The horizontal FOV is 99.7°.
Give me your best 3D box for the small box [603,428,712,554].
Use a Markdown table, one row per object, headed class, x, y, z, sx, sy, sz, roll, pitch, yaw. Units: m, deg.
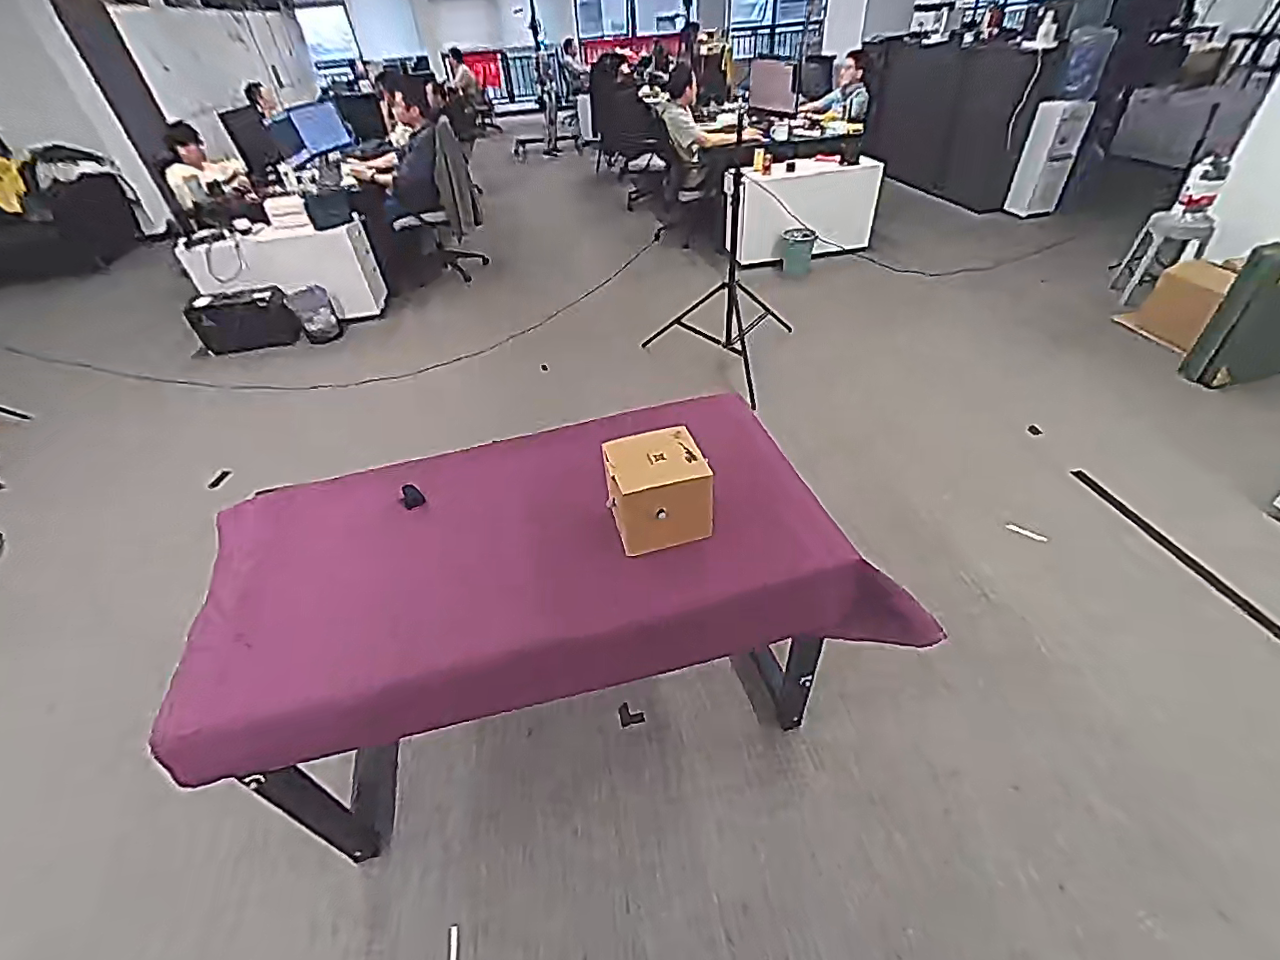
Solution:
| class | x | y | z | sx | sy | sz | roll | pitch | yaw |
| --- | --- | --- | --- | --- | --- | --- | --- | --- | --- |
| small box | 0.036 | 0.024 | 1.073 | 0.179 | 0.176 | 0.168 | -13 | 41 | -8 |
